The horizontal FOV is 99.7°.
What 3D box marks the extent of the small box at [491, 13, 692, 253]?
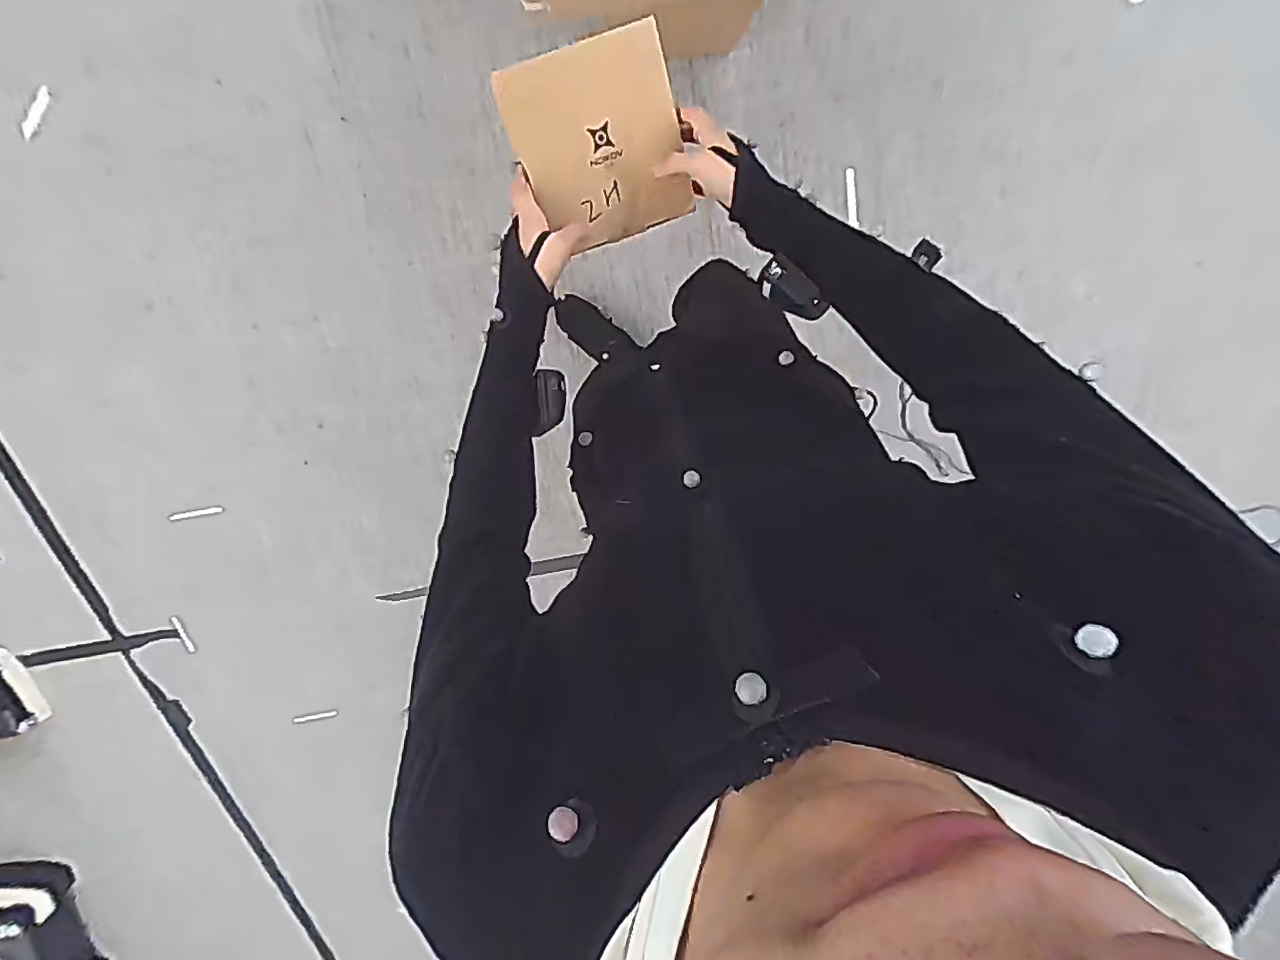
[{"bbox_3d":[-0.059,-0.378,0.615,0.168,0.176,0.179,-20,121,-2],"label":"small box"}]
